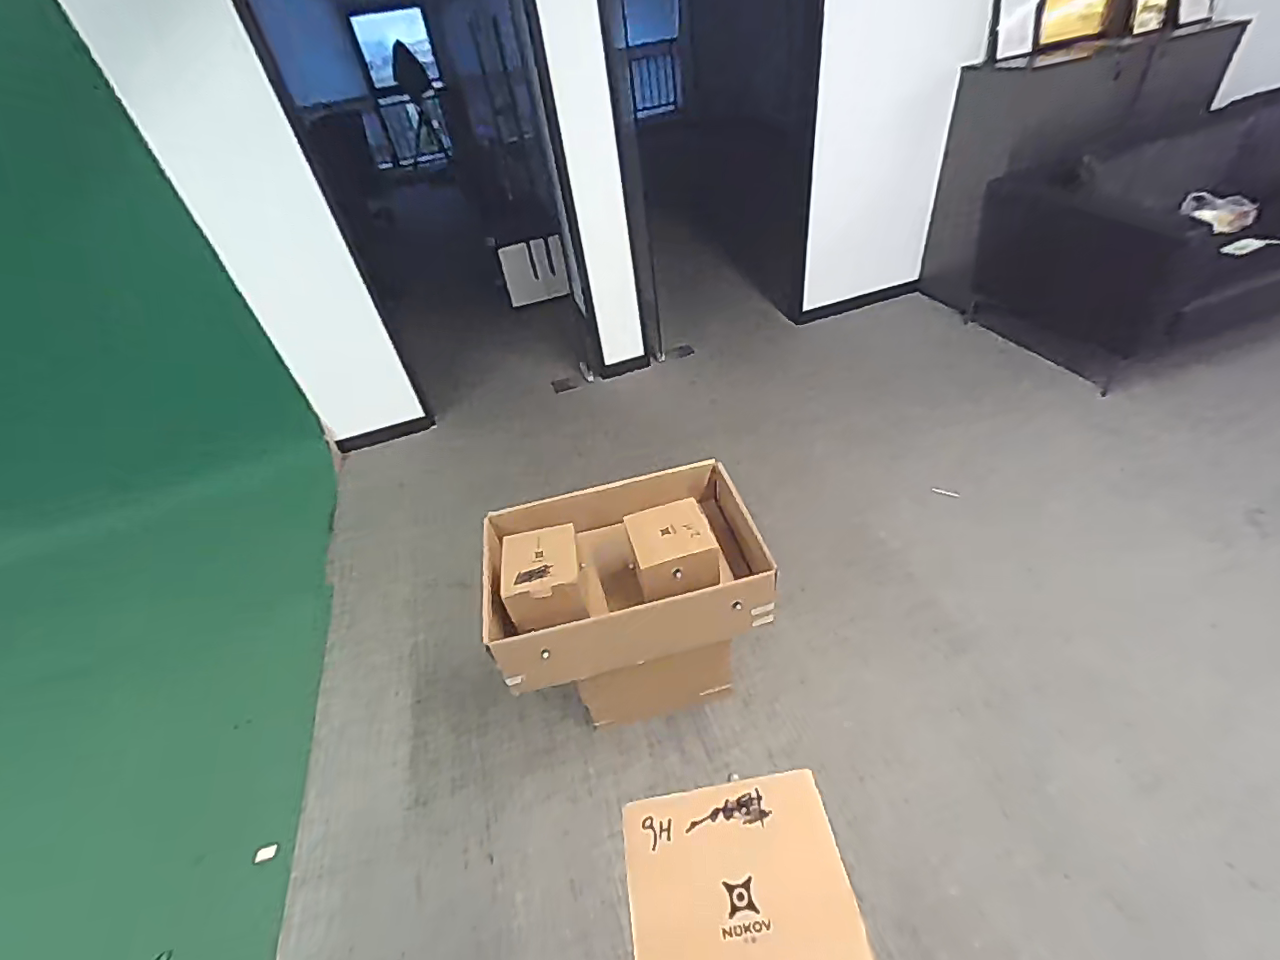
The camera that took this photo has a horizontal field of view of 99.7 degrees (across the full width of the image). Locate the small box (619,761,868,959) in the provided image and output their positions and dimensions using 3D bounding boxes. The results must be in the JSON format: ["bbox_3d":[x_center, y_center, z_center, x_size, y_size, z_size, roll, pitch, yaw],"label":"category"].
[{"bbox_3d":[0.083,0.368,0.453,0.168,0.176,0.179,-11,42,0],"label":"small box"}]
